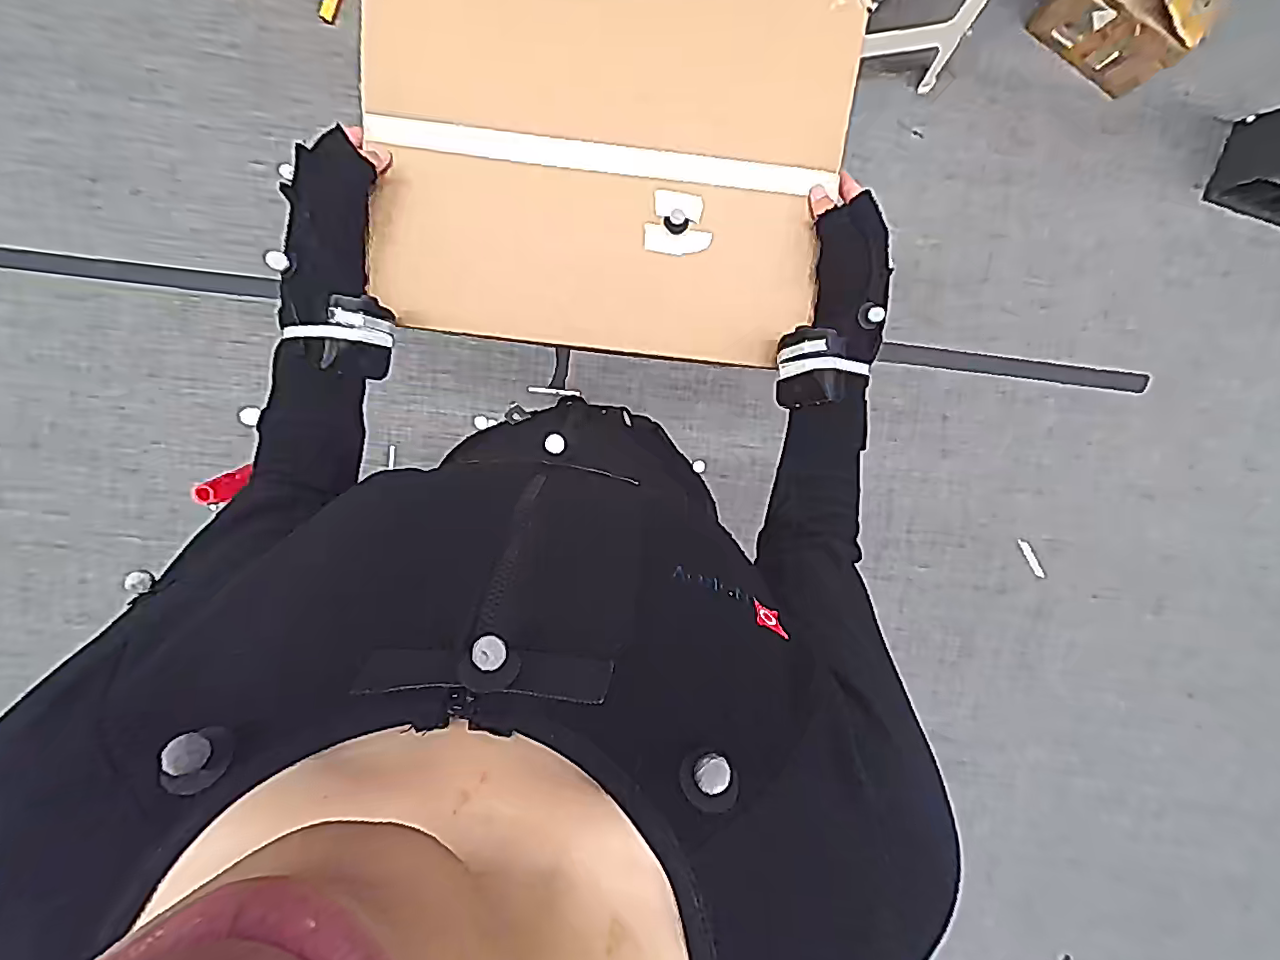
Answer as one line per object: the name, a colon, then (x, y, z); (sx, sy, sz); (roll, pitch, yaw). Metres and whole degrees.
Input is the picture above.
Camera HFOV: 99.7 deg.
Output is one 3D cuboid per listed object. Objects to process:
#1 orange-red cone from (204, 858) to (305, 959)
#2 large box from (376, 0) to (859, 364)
orange-red cone: (-1.107, 1.261, 1.458); (0.198, 0.360, 0.199); (4, 100, -1)
large box: (-0.034, -0.307, 0.615); (0.408, 0.320, 0.320); (6, 103, -3)
